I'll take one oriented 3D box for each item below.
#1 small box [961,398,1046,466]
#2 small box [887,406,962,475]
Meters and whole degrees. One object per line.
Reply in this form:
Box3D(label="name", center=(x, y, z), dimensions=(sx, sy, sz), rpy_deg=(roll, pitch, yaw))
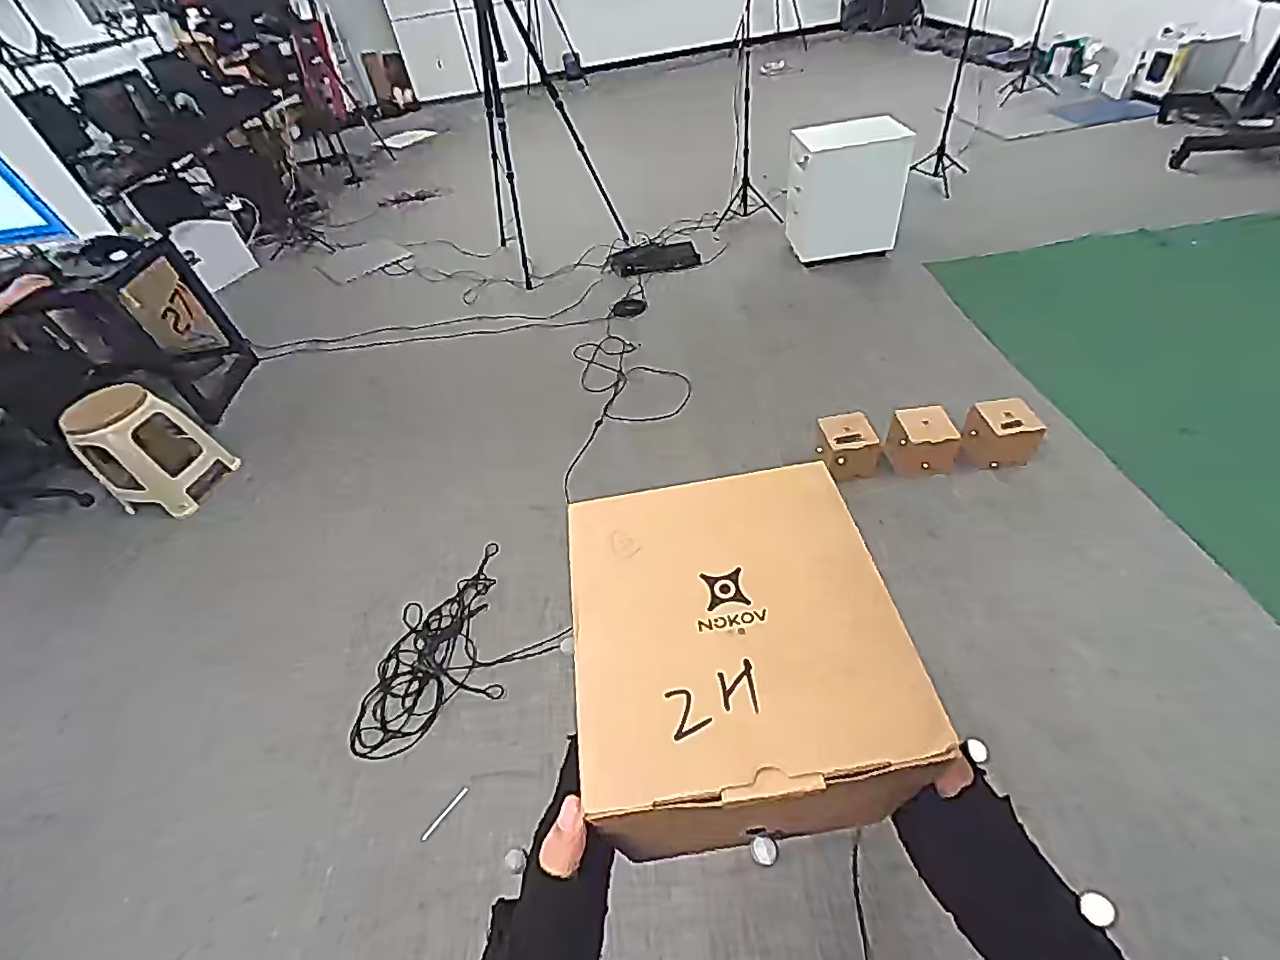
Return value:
Box3D(label="small box", center=(1.269, -0.164, 1.903), dimensions=(0.168, 0.176, 0.179), rpy_deg=(-7, 45, 3))
Box3D(label="small box", center=(1.002, -0.140, 1.925), dimensions=(0.168, 0.176, 0.179), rpy_deg=(-6, 46, 3))
